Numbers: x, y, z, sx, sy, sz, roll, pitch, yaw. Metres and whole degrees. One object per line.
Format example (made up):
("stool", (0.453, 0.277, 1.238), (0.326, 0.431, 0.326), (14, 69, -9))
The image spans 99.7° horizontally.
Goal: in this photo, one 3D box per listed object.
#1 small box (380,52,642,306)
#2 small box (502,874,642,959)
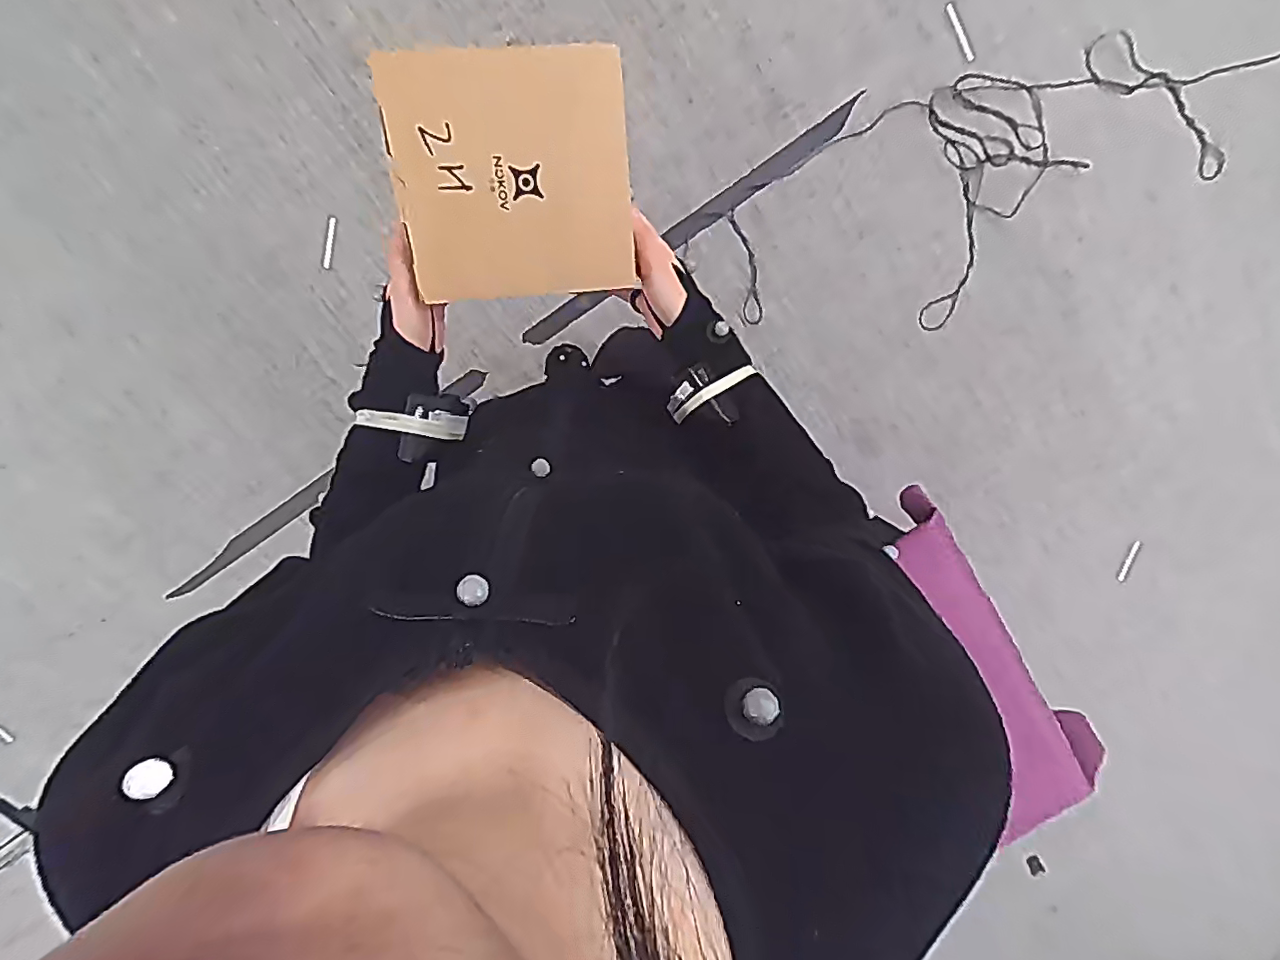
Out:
("small box", (-0.099, -0.251, 0.479), (0.179, 0.176, 0.168), (-6, 112, -5))
("small box", (-0.101, 0.773, 0.841), (0.168, 0.176, 0.179), (-32, 104, 2))
